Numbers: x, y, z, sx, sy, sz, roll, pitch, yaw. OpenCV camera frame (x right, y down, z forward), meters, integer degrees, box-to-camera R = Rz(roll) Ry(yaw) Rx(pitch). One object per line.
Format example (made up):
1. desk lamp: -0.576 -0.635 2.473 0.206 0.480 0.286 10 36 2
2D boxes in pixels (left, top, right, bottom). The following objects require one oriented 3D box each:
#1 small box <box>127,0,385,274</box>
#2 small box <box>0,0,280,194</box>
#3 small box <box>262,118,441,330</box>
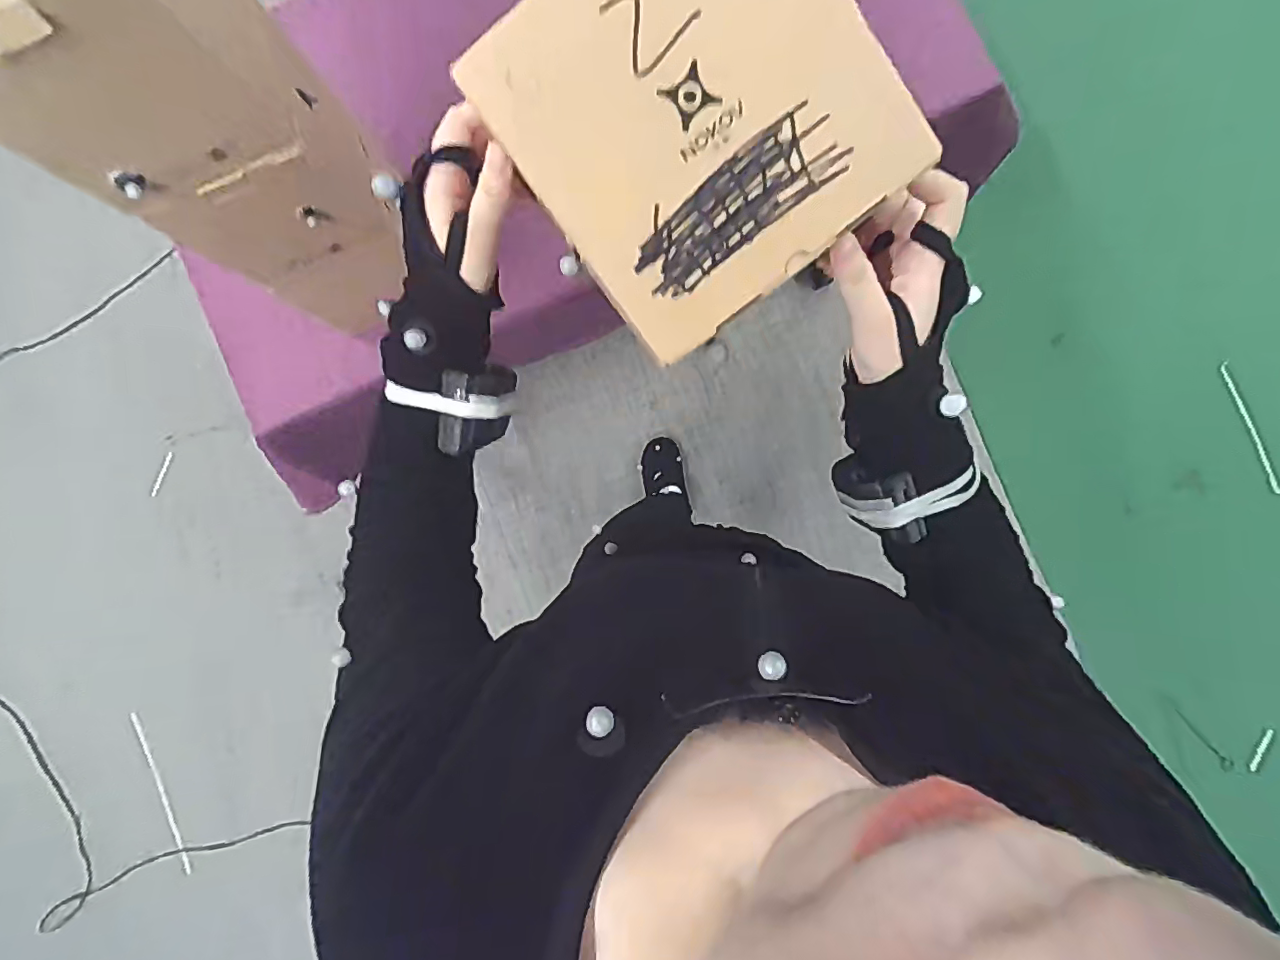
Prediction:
1. small box: -0.402 -0.341 0.567 0.168 0.176 0.179 -20 86 2
2. small box: -0.418 -0.350 0.404 0.168 0.176 0.179 -24 86 1
3. small box: -0.392 -0.329 0.730 0.179 0.176 0.168 -22 86 1
